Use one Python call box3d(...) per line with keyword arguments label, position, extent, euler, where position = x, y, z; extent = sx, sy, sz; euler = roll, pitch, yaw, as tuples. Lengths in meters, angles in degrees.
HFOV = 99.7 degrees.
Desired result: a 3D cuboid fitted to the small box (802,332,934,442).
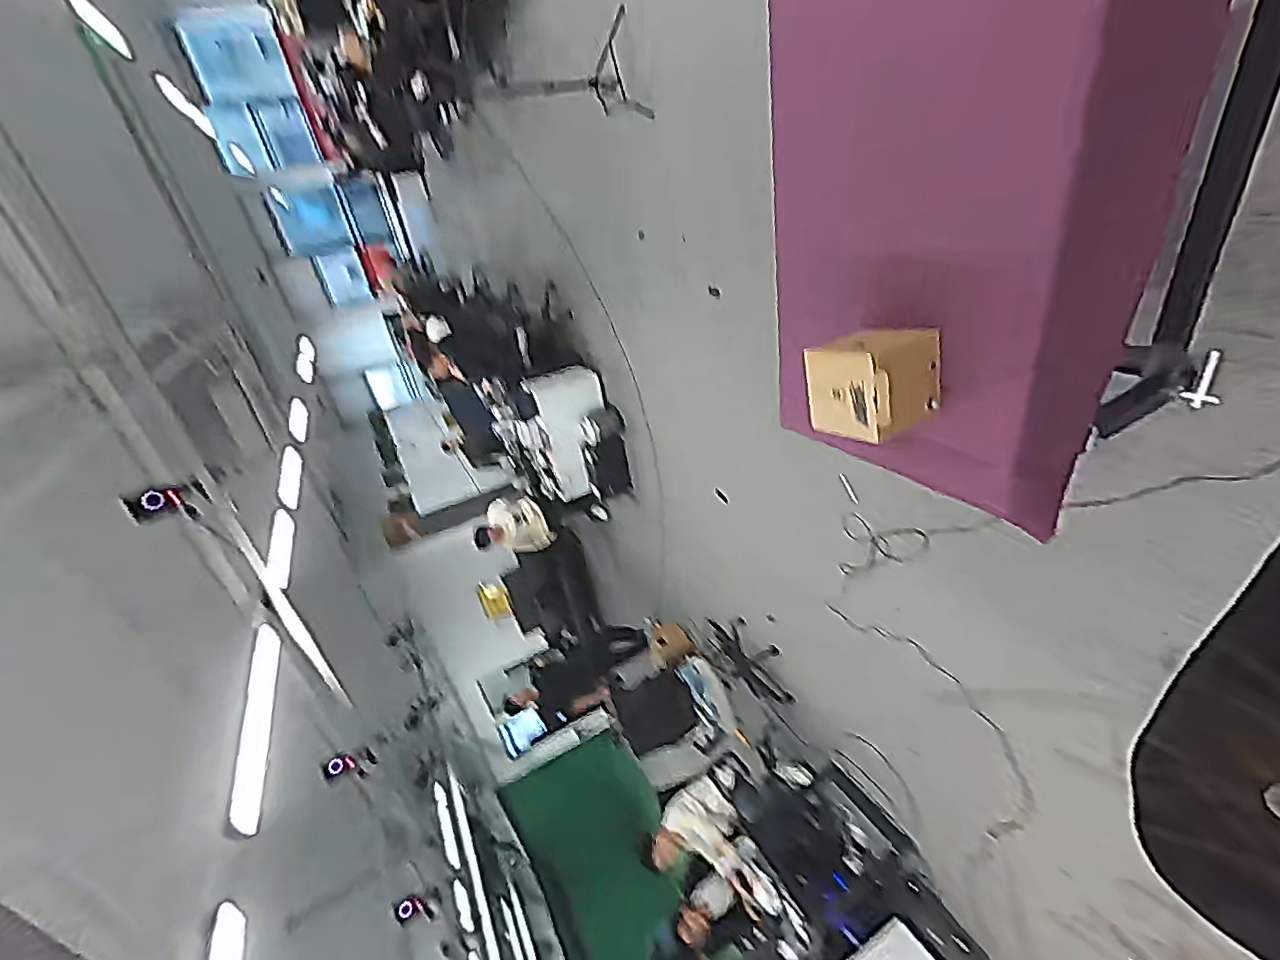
box3d(label="small box", position=(0.449, -0.189, 1.058), extent=(0.179, 0.176, 0.168), euler=(29, 136, 61))
